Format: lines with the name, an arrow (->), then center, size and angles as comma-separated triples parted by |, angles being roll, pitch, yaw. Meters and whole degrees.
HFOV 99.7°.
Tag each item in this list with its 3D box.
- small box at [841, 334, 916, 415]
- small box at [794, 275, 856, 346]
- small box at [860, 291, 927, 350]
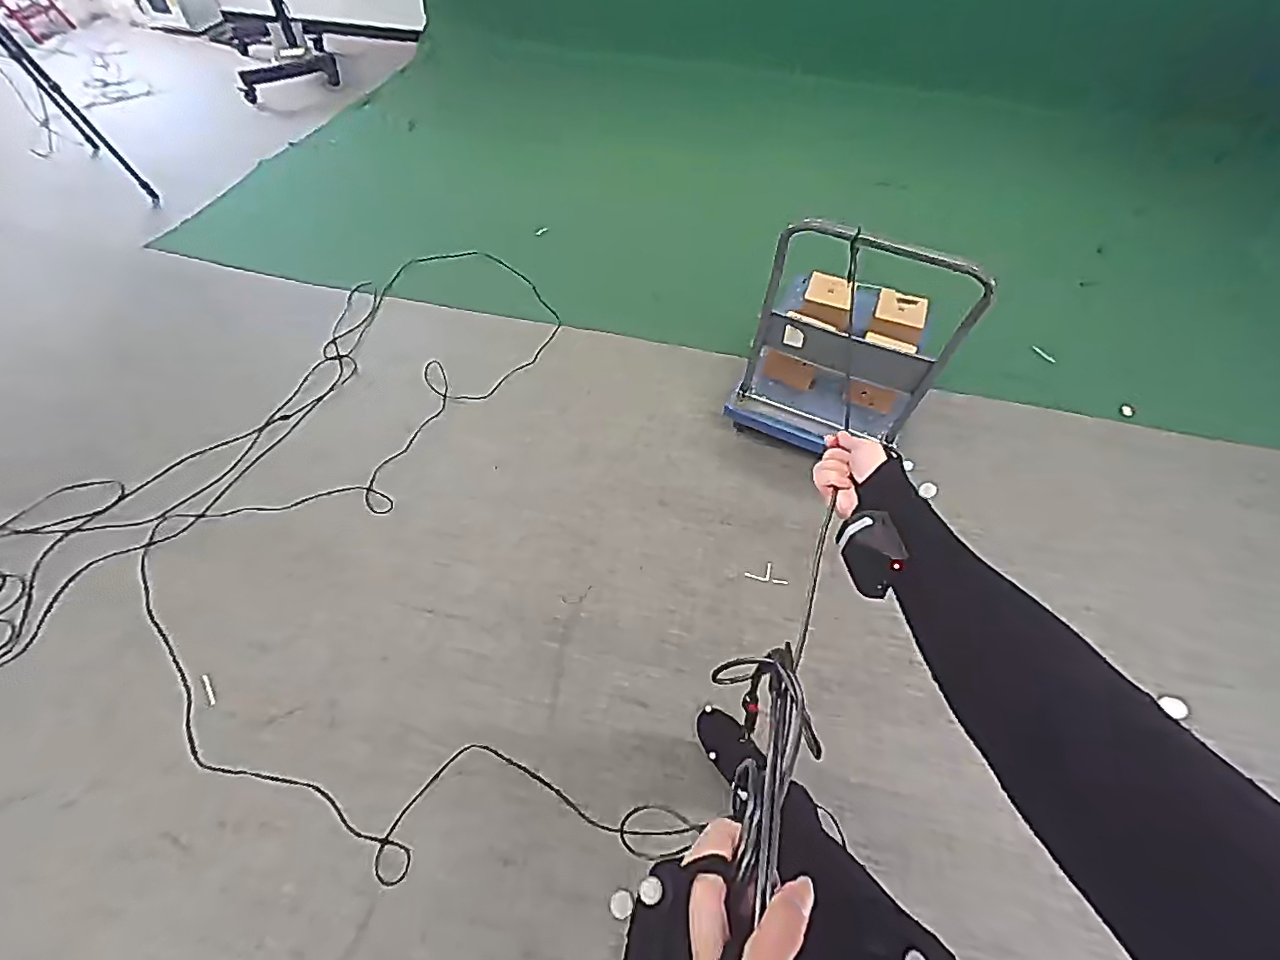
small box -> 0.803, -0.356, 1.832 | 0.168, 0.176, 0.179 | 23, 58, 14
small box -> 0.688, -0.632, 2.026 | 0.168, 0.176, 0.179 | 20, 56, 11
small box -> 0.921, -0.554, 1.975 | 0.168, 0.176, 0.179 | 18, 57, 13
